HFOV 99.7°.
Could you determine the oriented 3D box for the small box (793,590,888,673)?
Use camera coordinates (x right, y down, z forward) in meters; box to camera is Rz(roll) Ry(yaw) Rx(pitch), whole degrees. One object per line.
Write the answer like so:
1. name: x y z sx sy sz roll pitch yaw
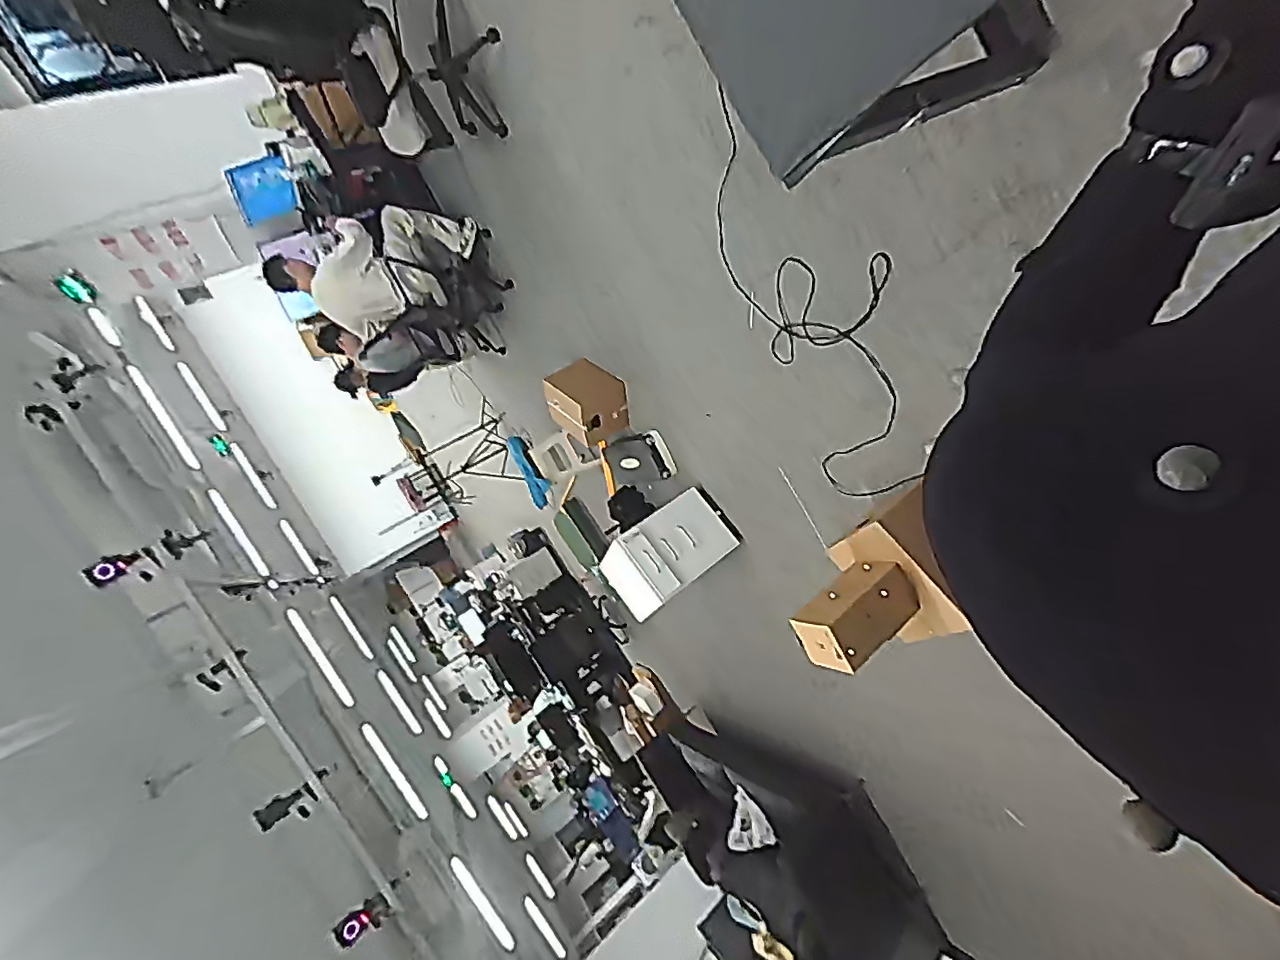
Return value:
1. small box: 0.611 0.453 1.646 0.168 0.176 0.179 60 157 -6
